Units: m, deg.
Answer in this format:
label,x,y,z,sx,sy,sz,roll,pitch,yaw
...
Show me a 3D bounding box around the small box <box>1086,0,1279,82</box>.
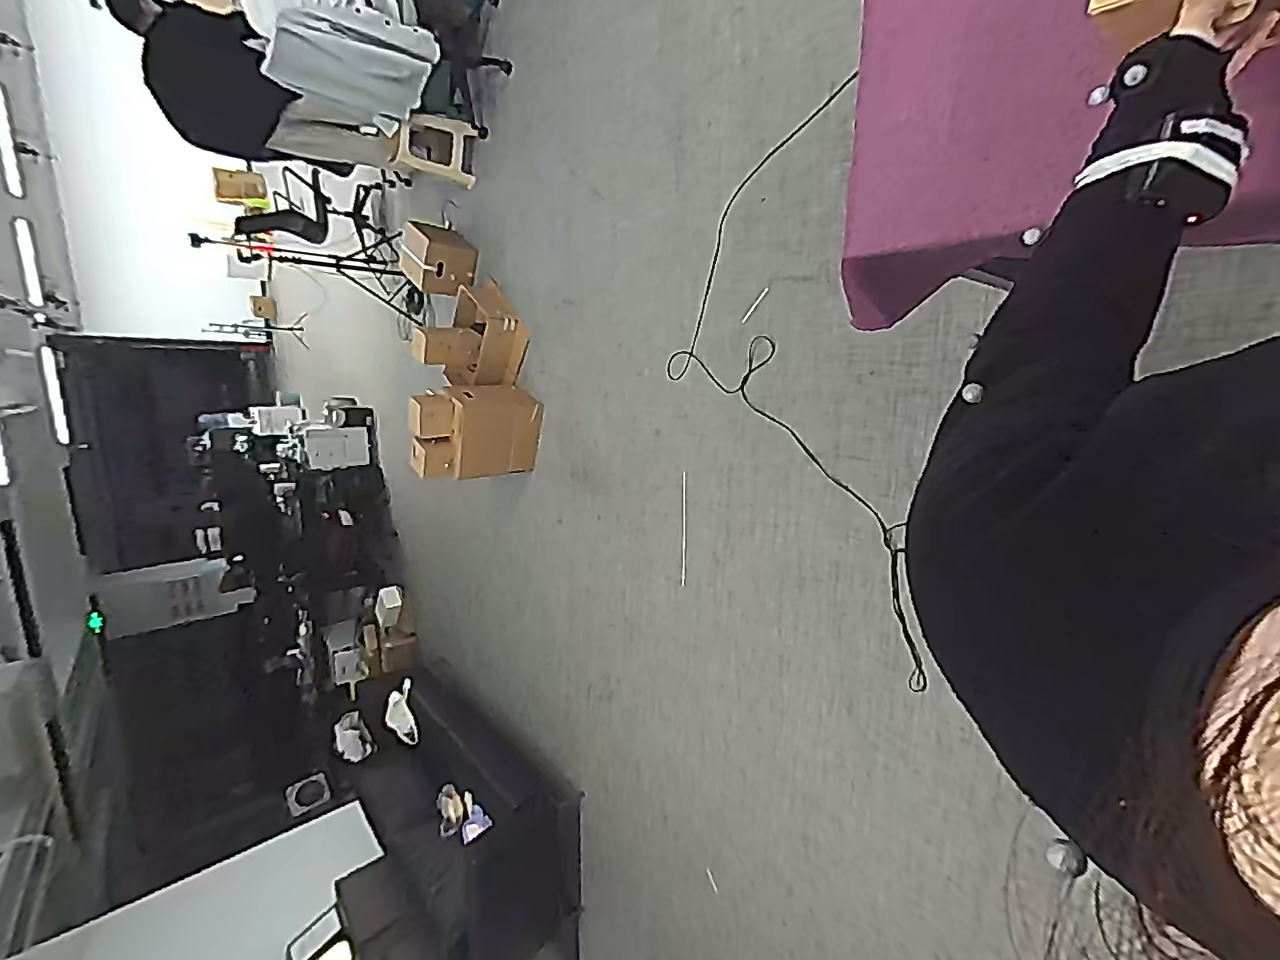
label,x,y,z,sx,sy,sz,roll,pitch,yaw
small box,0.524,-0.493,0.467,0.168,0.176,0.179,18,110,46
